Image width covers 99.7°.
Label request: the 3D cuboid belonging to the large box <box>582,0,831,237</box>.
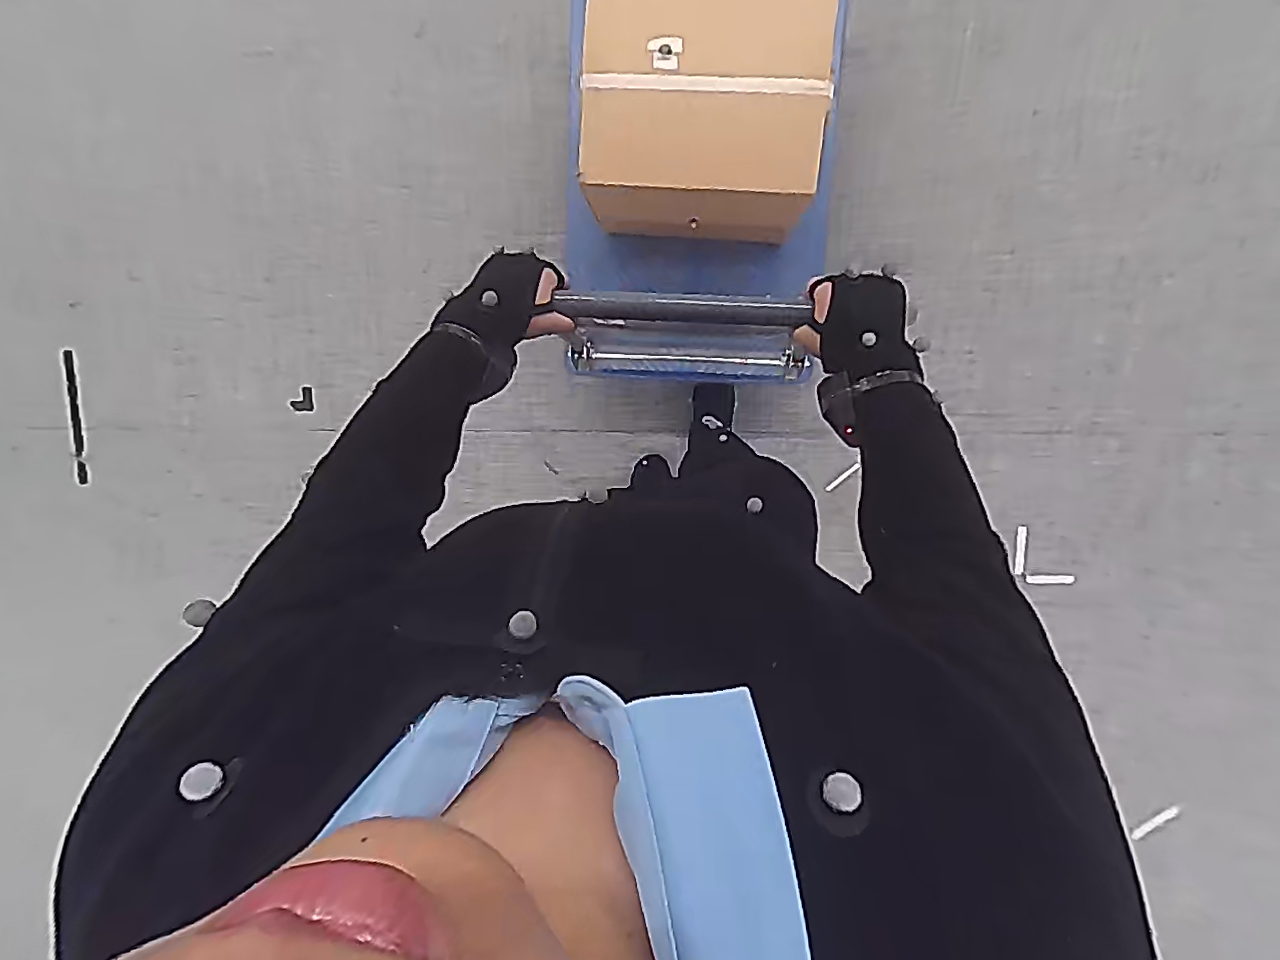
[{"bbox_3d":[0.119,-0.677,1.048,0.408,0.320,0.320,5,99,5],"label":"large box"}]
